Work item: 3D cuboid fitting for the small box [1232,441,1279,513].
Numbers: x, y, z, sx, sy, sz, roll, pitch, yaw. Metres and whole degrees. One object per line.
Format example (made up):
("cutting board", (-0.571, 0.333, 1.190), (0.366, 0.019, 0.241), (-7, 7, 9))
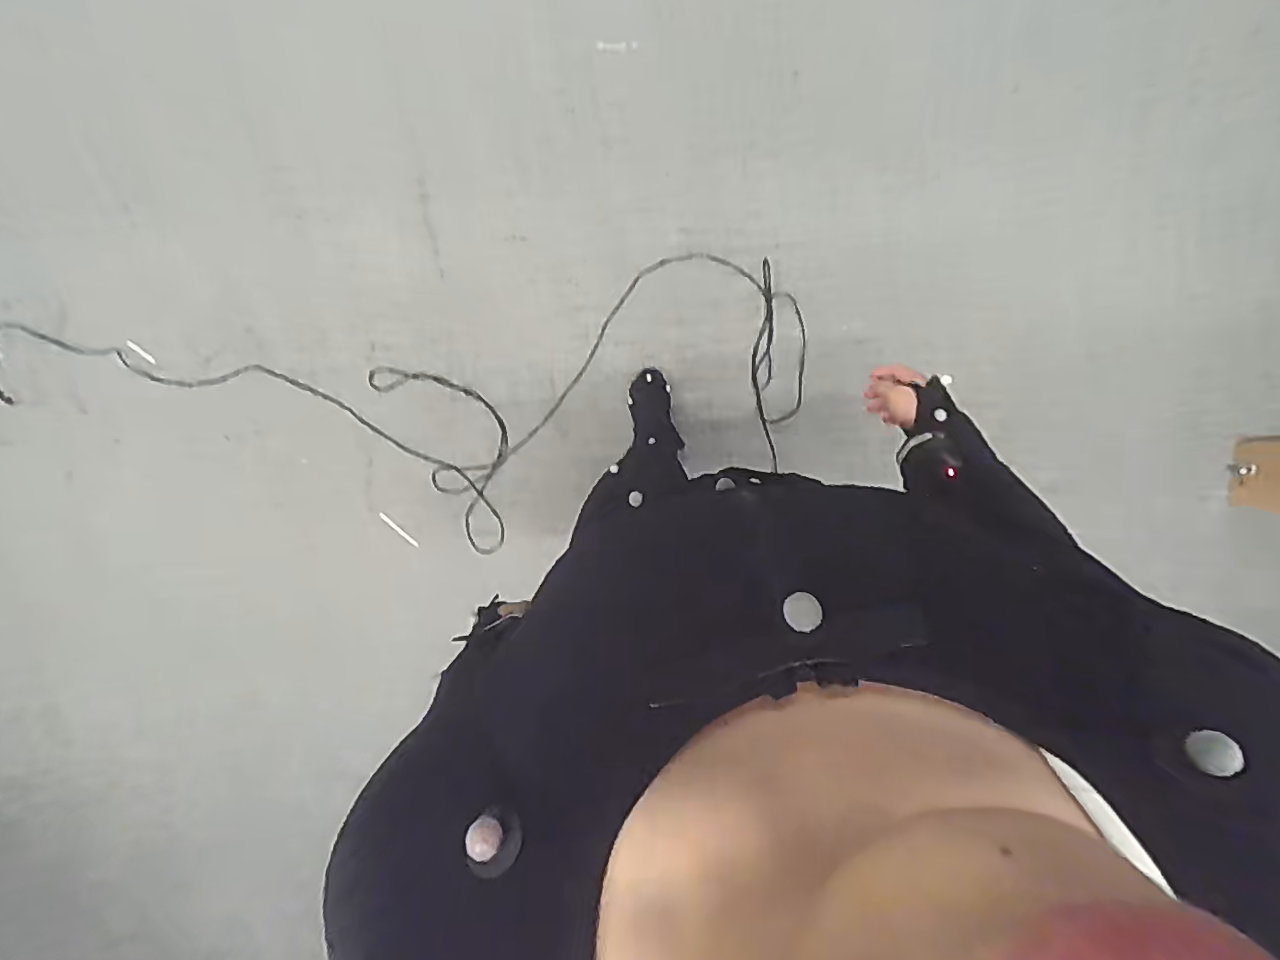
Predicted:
("small box", (1.600, -0.009, 1.294), (0.179, 0.176, 0.168), (-2, 96, 5))
